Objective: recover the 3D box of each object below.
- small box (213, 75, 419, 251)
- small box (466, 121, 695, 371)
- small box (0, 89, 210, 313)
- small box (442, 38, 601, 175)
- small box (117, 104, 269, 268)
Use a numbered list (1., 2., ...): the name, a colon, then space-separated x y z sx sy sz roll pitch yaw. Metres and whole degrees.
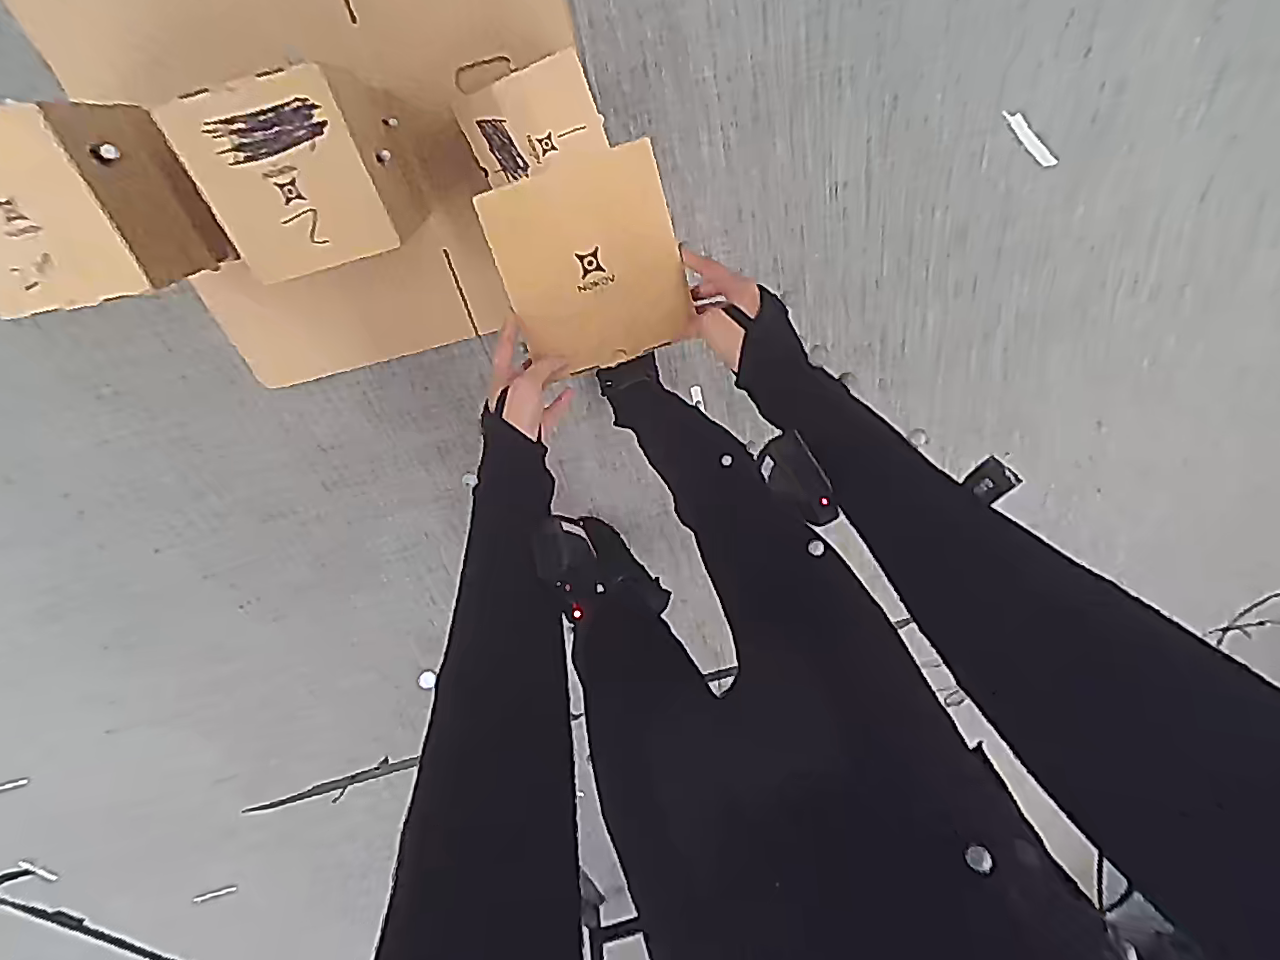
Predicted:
1. small box: -0.426 -0.436 0.749 0.168 0.176 0.179 -13 125 -4
2. small box: -0.055 -0.228 0.564 0.168 0.176 0.179 -18 108 3
3. small box: -0.633 -0.304 0.590 0.168 0.176 0.179 -13 125 -3
4. small box: -0.153 -0.489 0.773 0.179 0.176 0.168 -23 125 3
5. small box: -0.651 -0.390 0.730 0.168 0.176 0.179 -13 125 -3
